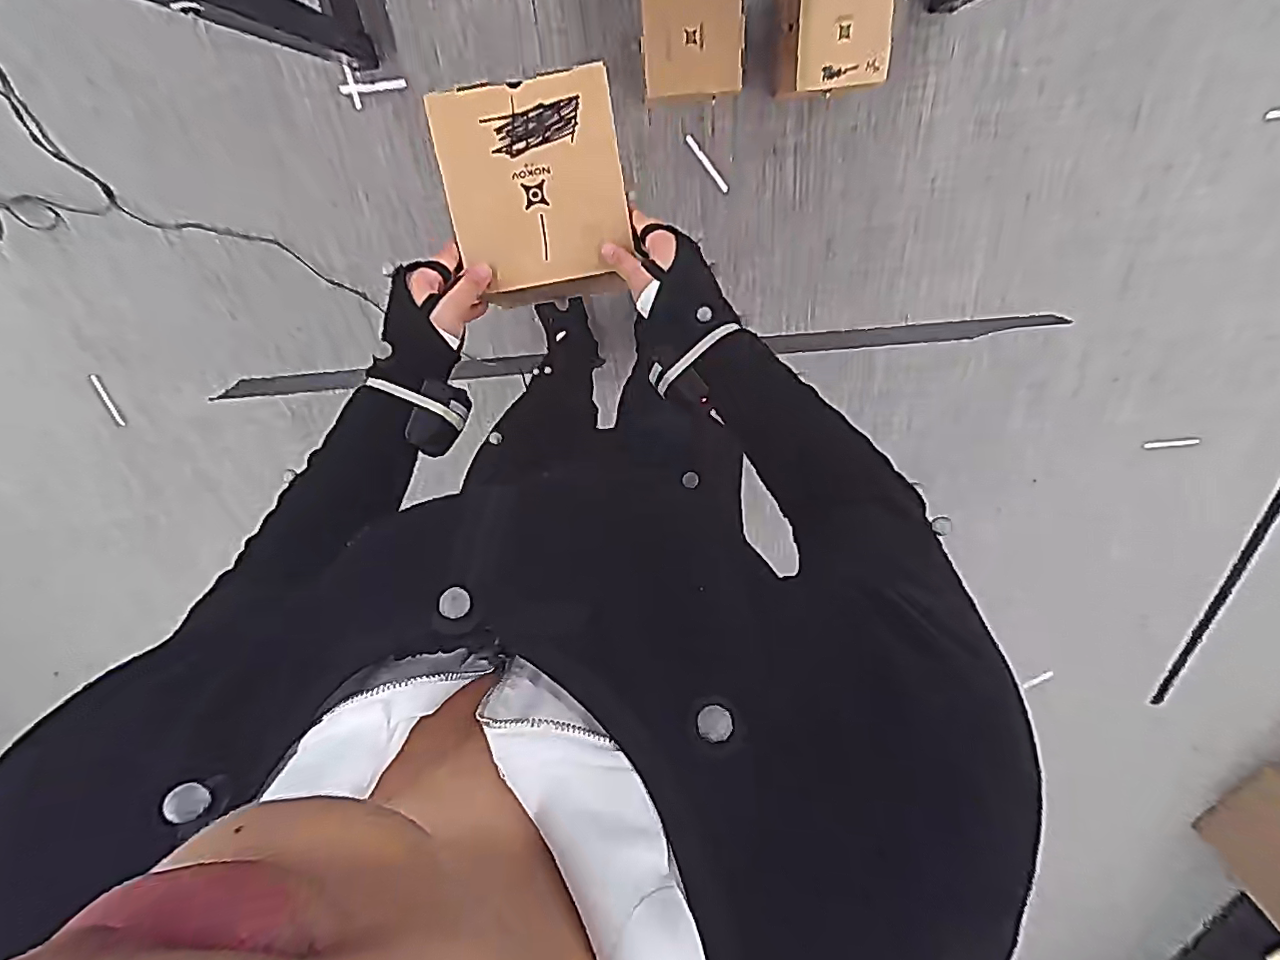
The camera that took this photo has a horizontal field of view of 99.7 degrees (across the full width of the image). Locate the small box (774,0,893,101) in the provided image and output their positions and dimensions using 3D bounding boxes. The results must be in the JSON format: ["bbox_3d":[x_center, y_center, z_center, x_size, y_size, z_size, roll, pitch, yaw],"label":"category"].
[{"bbox_3d":[0.351,-0.828,1.004,0.168,0.176,0.179,-5,120,2],"label":"small box"}]

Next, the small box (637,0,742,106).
[{"bbox_3d":[0.089,-0.811,1.010,0.179,0.176,0.168,-5,120,2],"label":"small box"}]

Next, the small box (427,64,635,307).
[{"bbox_3d":[-0.102,-0.294,0.580,0.168,0.176,0.179,-10,104,1],"label":"small box"}]
